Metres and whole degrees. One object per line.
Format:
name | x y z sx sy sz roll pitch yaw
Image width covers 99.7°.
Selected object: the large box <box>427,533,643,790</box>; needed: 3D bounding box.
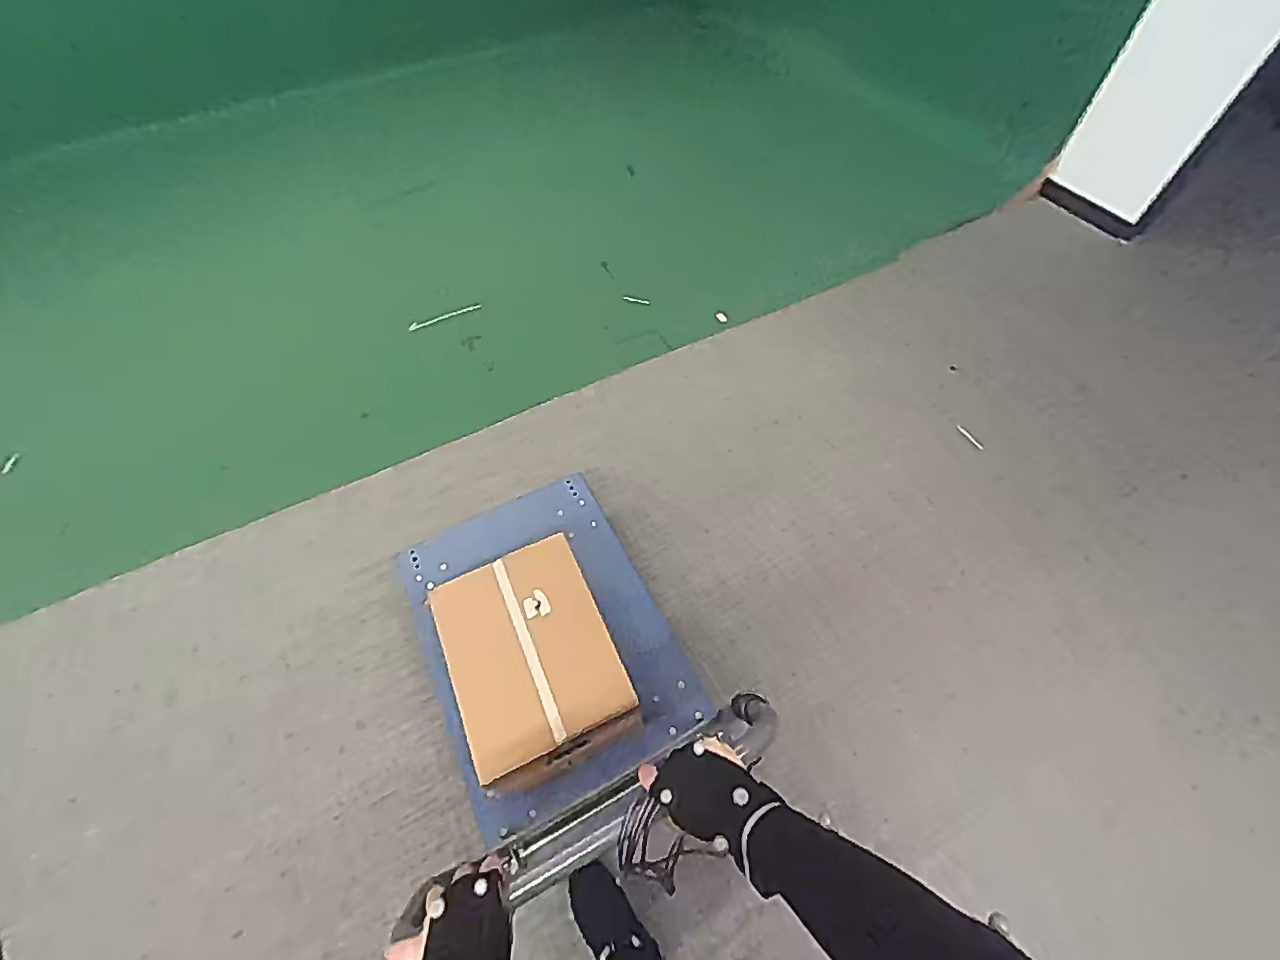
large box | -0.218 0.400 1.192 0.320 0.320 0.408 -23 59 -12
